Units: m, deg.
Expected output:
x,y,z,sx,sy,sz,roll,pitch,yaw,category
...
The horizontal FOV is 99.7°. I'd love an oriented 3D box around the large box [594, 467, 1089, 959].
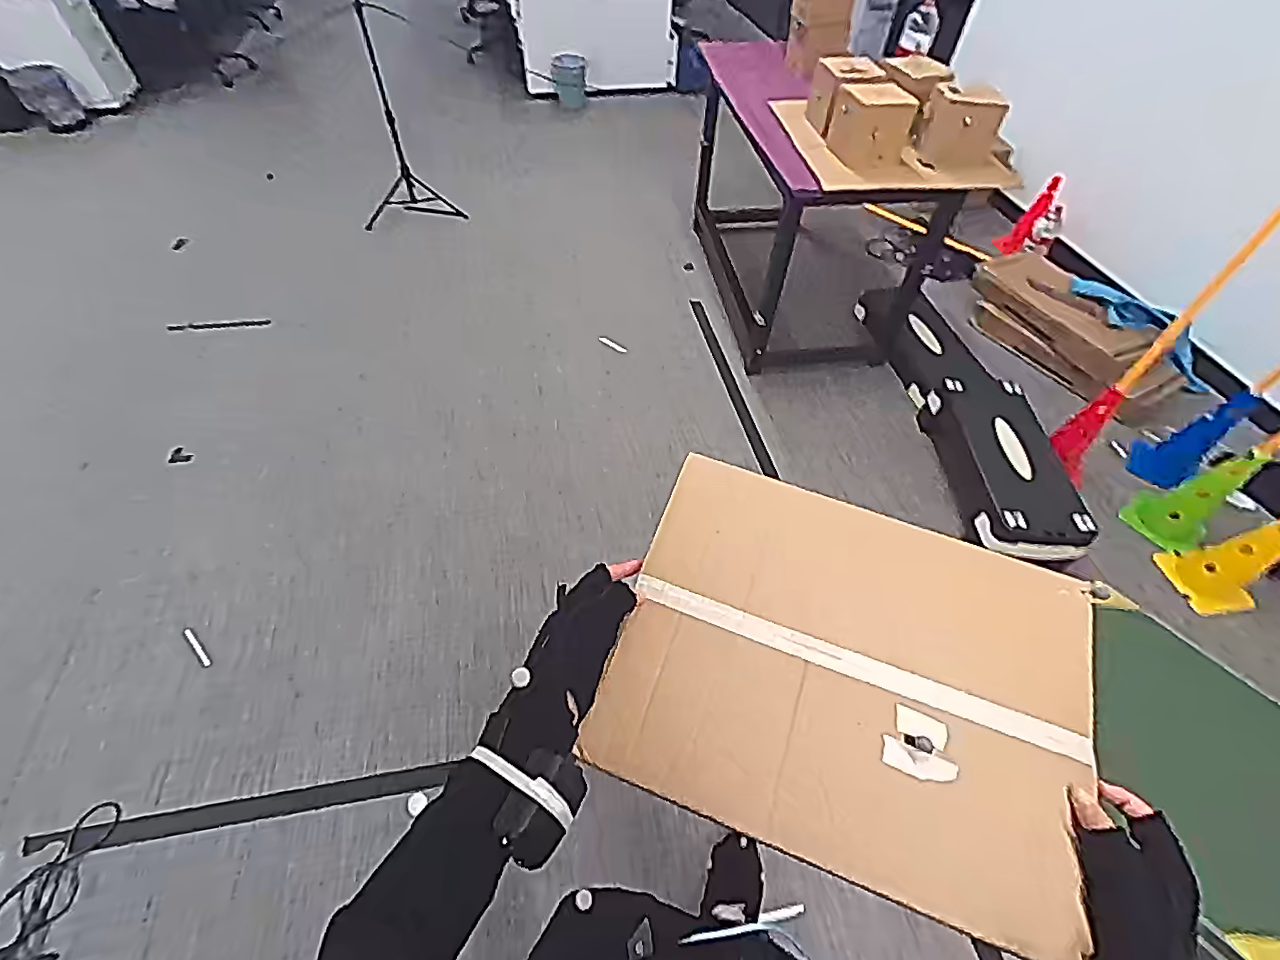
x,y,z,sx,sy,sz,roll,pitch,yaw,category
0.193,0.238,0.625,0.408,0.320,0.320,19,65,9,large box
